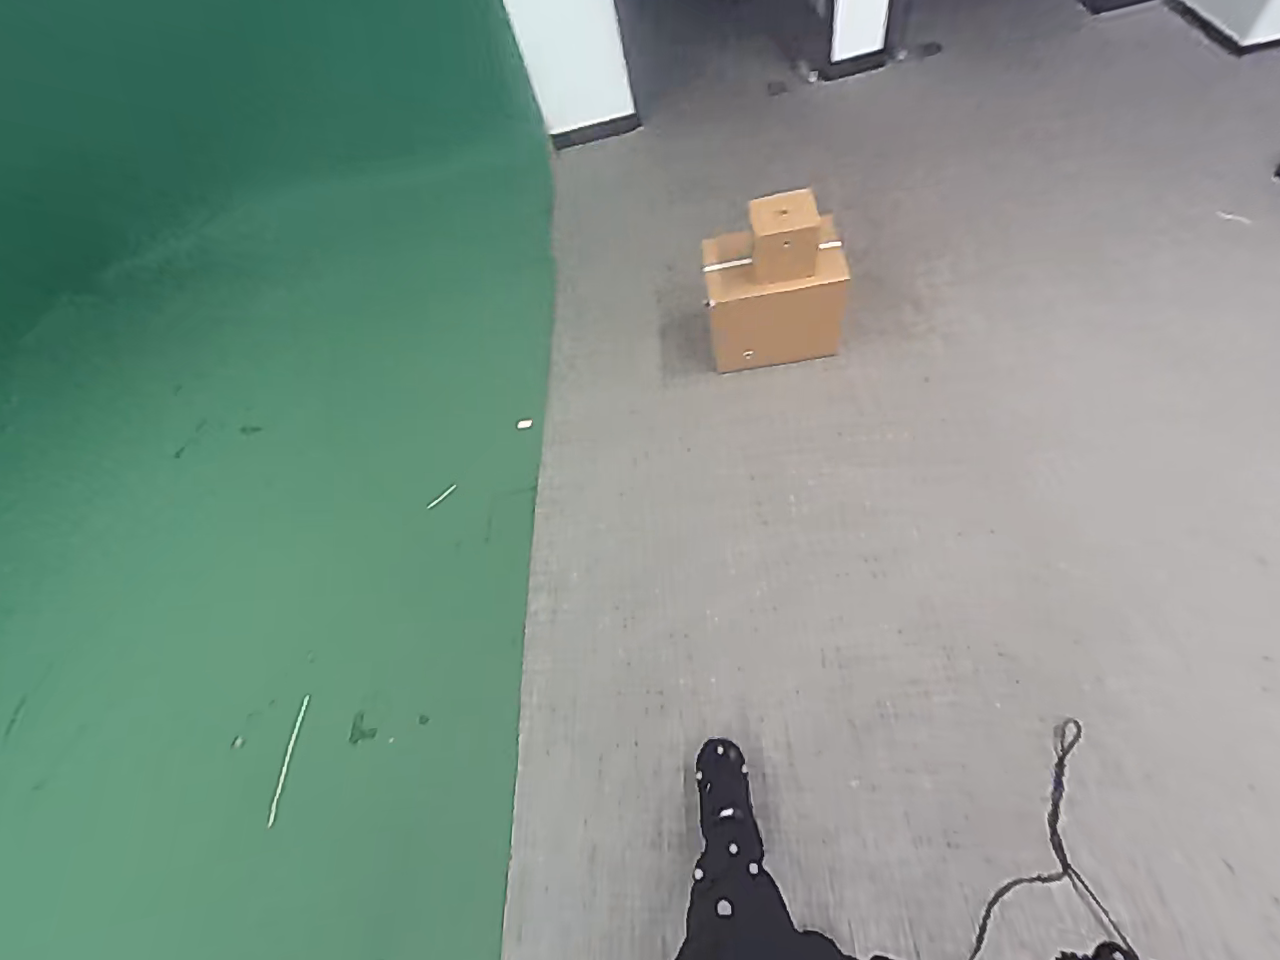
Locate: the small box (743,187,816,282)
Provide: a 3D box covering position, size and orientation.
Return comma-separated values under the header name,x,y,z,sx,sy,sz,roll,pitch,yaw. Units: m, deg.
name,x,y,z,sx,sy,sz,roll,pitch,yaw
small box,0.394,-0.691,1.539,0.179,0.176,0.168,-8,60,9
